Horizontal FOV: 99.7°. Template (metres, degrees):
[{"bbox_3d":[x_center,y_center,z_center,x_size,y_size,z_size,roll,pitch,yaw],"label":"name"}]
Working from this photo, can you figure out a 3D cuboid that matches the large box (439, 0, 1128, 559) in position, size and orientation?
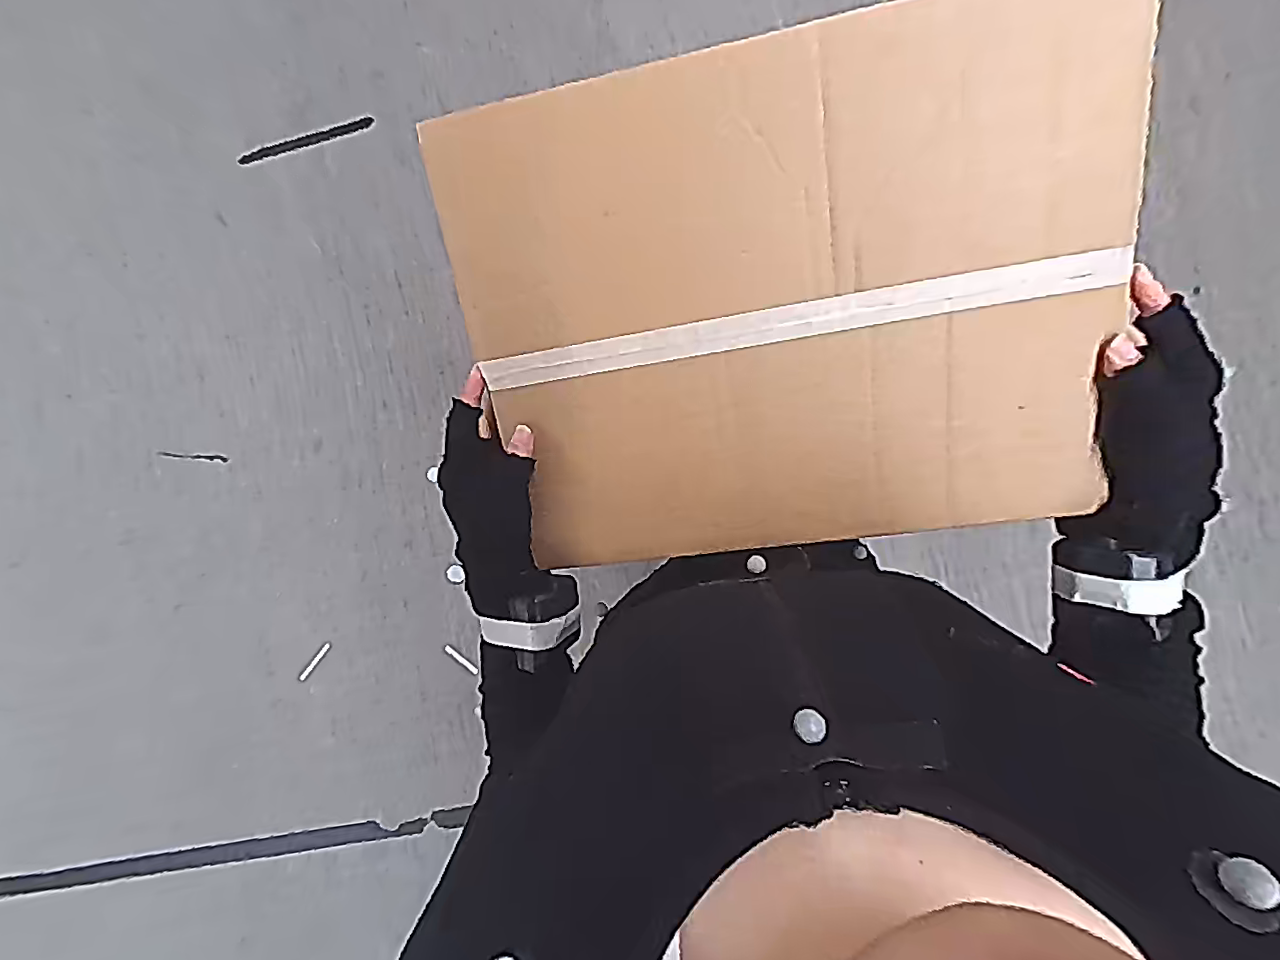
[{"bbox_3d":[0.104,-0.153,0.498,0.408,0.320,0.320,-7,109,9],"label":"large box"}]
